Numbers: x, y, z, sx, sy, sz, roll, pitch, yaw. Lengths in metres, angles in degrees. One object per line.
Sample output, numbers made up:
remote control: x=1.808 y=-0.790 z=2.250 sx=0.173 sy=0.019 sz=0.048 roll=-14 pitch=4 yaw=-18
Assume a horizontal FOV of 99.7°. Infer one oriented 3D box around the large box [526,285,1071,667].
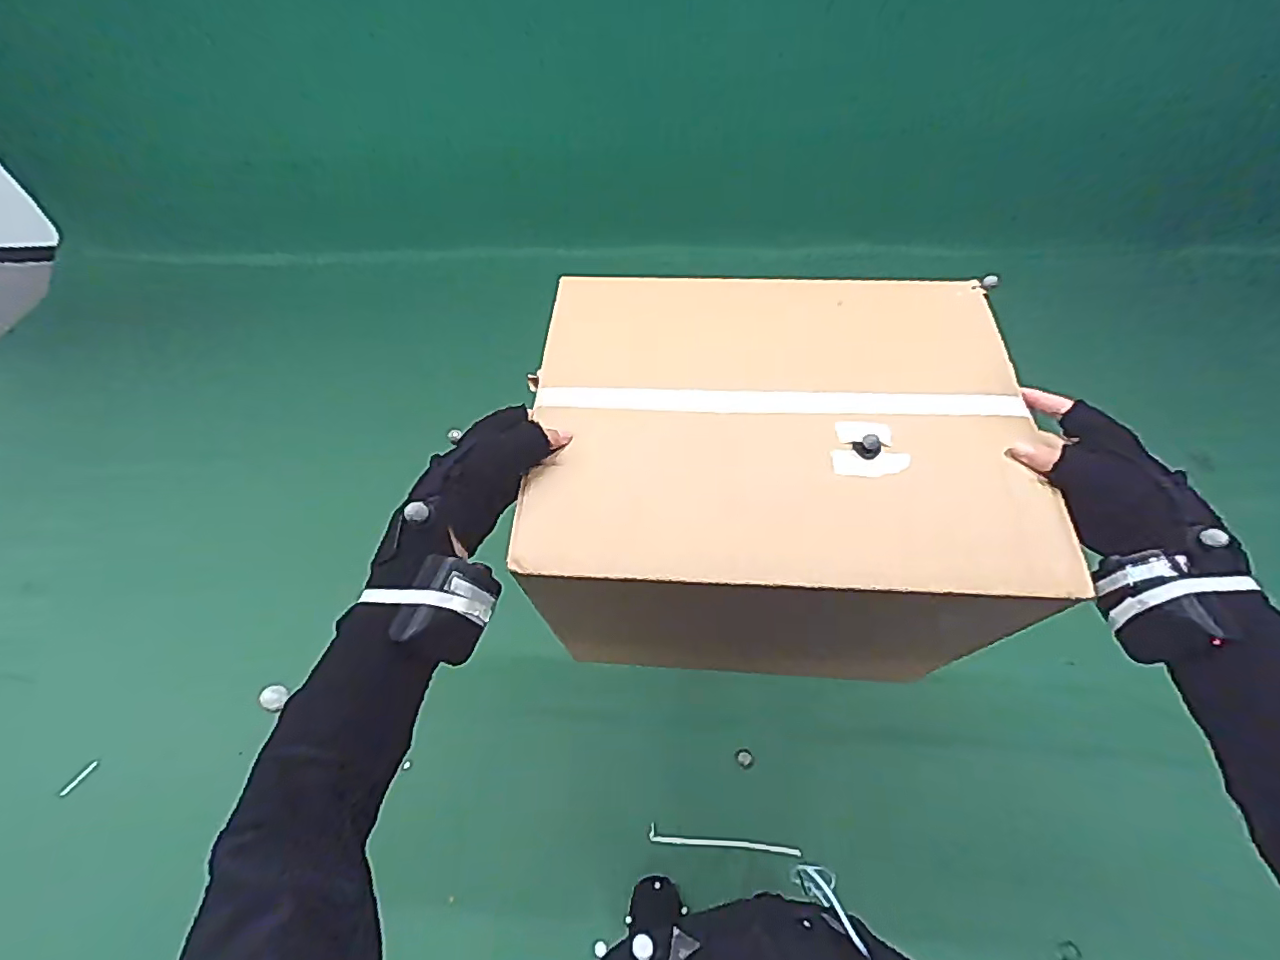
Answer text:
large box: x=0.120 y=0.012 z=0.594 sx=0.408 sy=0.320 sz=0.320 roll=2 pitch=60 yaw=3
